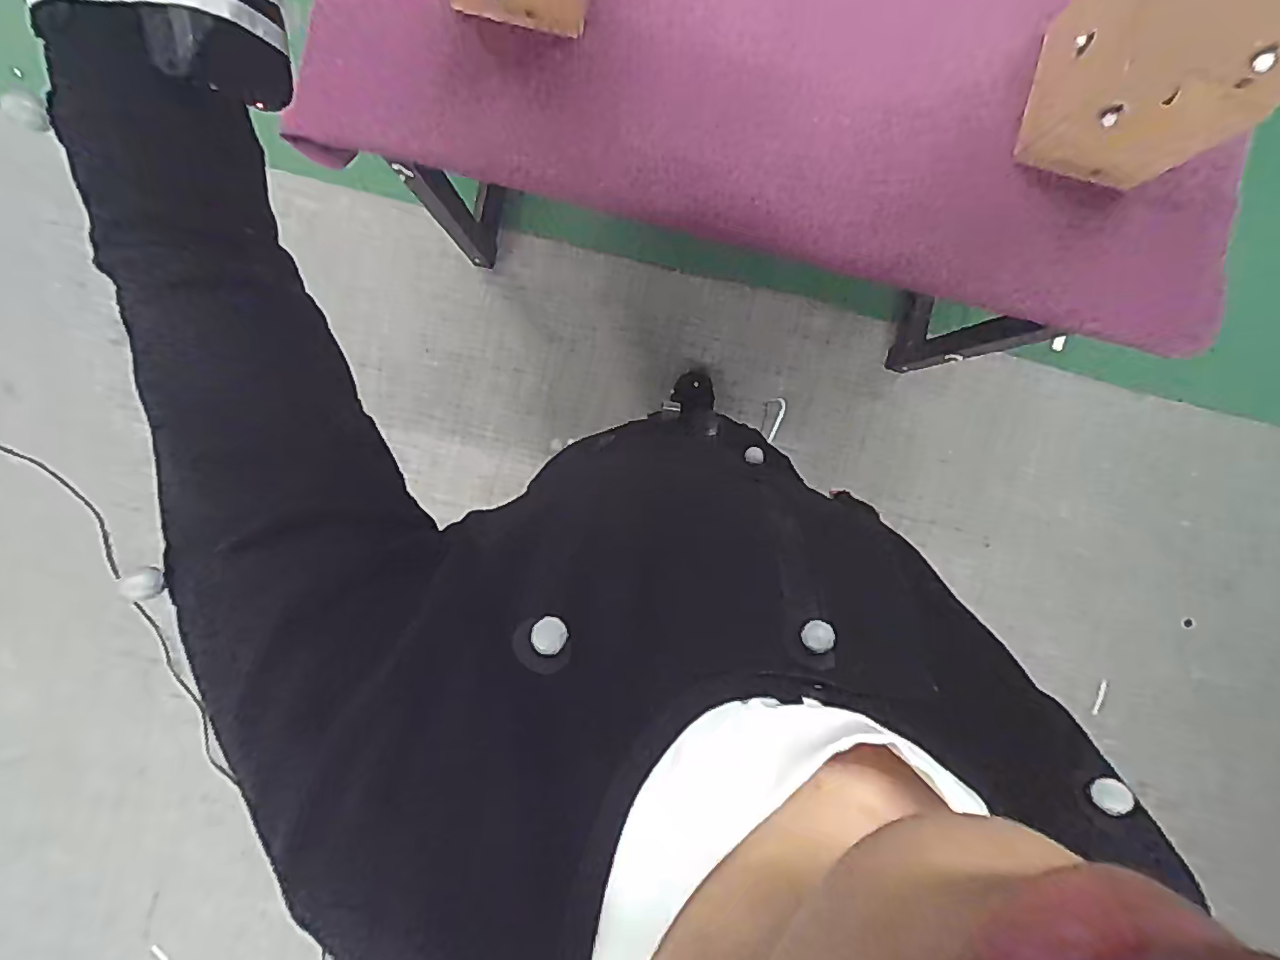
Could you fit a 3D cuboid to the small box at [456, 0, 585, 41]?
[{"bbox_3d":[-0.137,-0.652,0.600,0.168,0.176,0.179,11,95,-4],"label":"small box"}]
